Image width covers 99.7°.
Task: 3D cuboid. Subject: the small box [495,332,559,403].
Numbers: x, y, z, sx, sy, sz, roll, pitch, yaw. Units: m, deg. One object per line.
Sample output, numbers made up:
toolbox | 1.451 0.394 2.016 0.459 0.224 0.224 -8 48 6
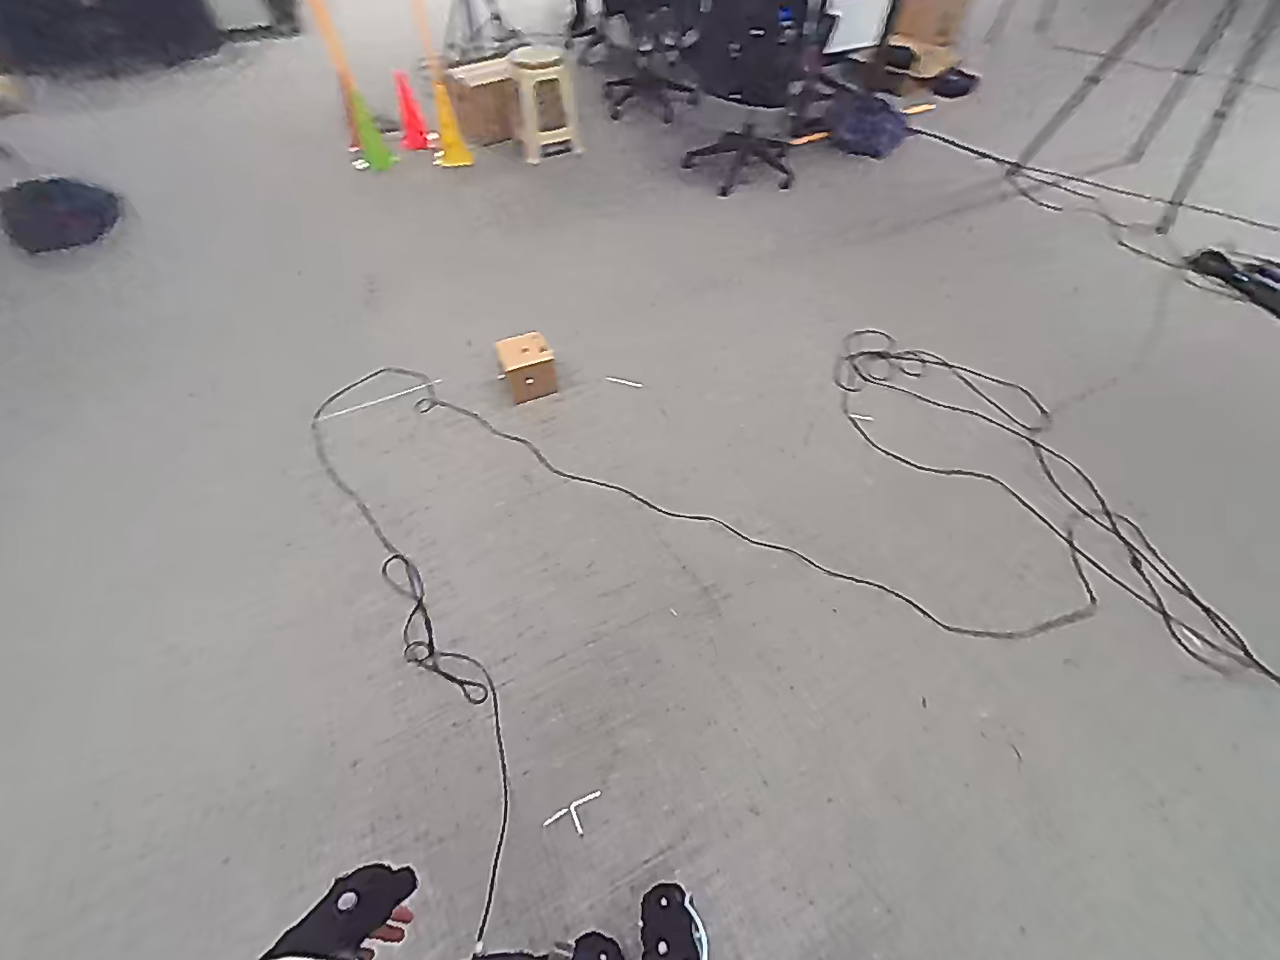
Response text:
small box | -0.412 -0.409 1.989 0.179 0.176 0.168 -20 57 -15
